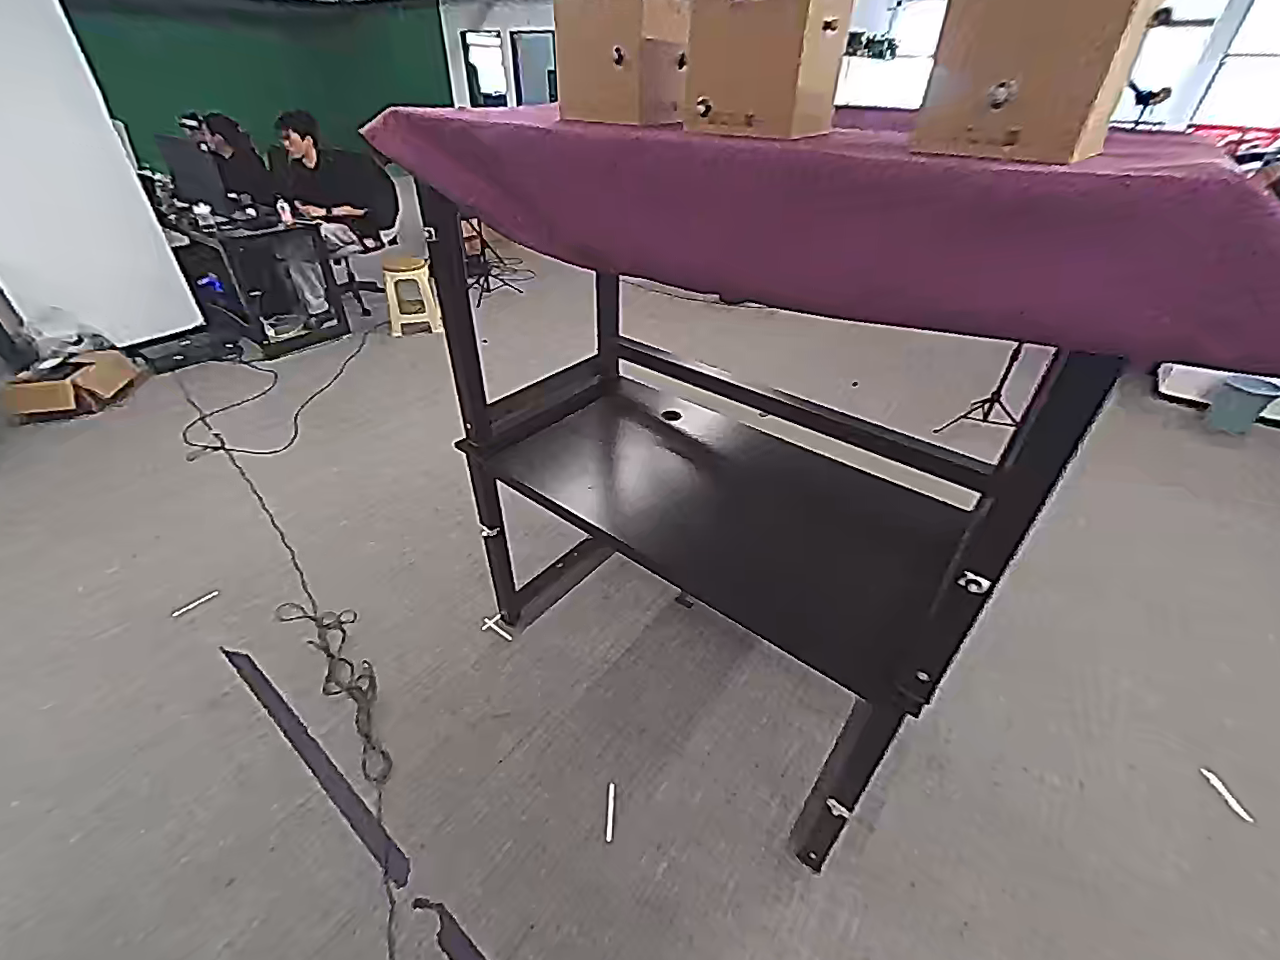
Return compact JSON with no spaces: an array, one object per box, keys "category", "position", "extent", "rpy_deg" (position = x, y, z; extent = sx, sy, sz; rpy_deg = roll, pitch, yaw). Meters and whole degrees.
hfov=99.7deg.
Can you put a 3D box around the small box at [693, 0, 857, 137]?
[{"category":"small box","position":[0.184,-0.585,0.757],"extent":[0.168,0.176,0.179],"rpy_deg":[23,41,26]}]

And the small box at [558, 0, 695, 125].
[{"category":"small box","position":[-0.016,-0.699,0.904],"extent":[0.179,0.176,0.168],"rpy_deg":[24,41,27]}]

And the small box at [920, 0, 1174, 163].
[{"category":"small box","position":[0.432,-0.450,0.581],"extent":[0.168,0.176,0.179],"rpy_deg":[29,44,33]}]
